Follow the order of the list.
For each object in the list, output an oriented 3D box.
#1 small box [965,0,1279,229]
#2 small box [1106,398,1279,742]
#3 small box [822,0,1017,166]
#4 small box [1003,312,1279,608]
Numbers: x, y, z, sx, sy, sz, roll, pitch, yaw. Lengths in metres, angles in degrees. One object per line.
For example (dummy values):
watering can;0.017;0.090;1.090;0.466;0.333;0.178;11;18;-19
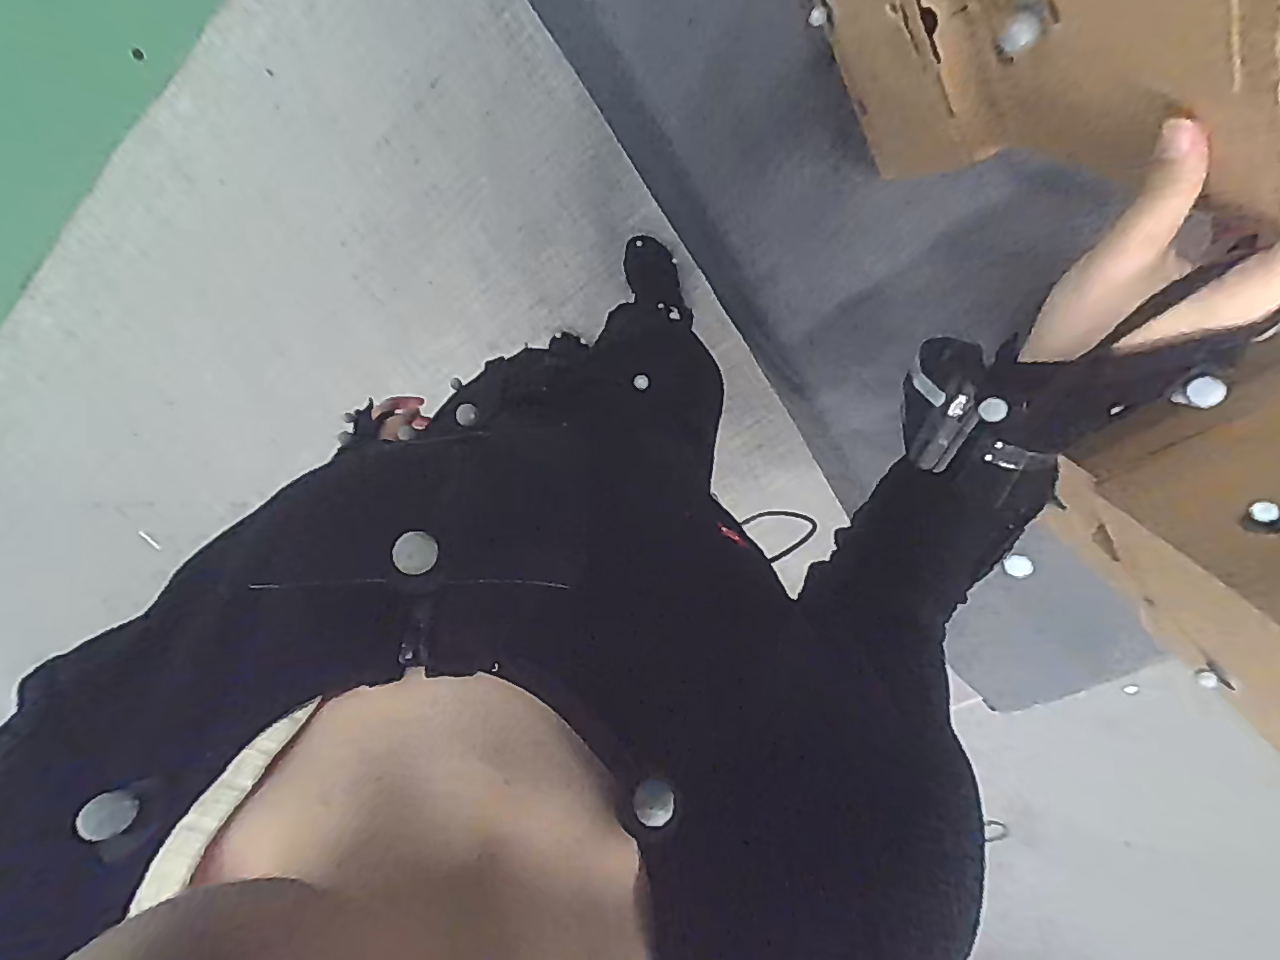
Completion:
small box;0.239;-0.234;0.181;0.179;0.176;0.168;-37;129;23
small box;0.449;0.057;0.343;0.179;0.176;0.168;-31;111;18
small box;0.234;-0.331;0.348;0.179;0.176;0.168;-28;112;17
small box;0.464;-0.024;0.483;0.179;0.176;0.168;-29;111;19
